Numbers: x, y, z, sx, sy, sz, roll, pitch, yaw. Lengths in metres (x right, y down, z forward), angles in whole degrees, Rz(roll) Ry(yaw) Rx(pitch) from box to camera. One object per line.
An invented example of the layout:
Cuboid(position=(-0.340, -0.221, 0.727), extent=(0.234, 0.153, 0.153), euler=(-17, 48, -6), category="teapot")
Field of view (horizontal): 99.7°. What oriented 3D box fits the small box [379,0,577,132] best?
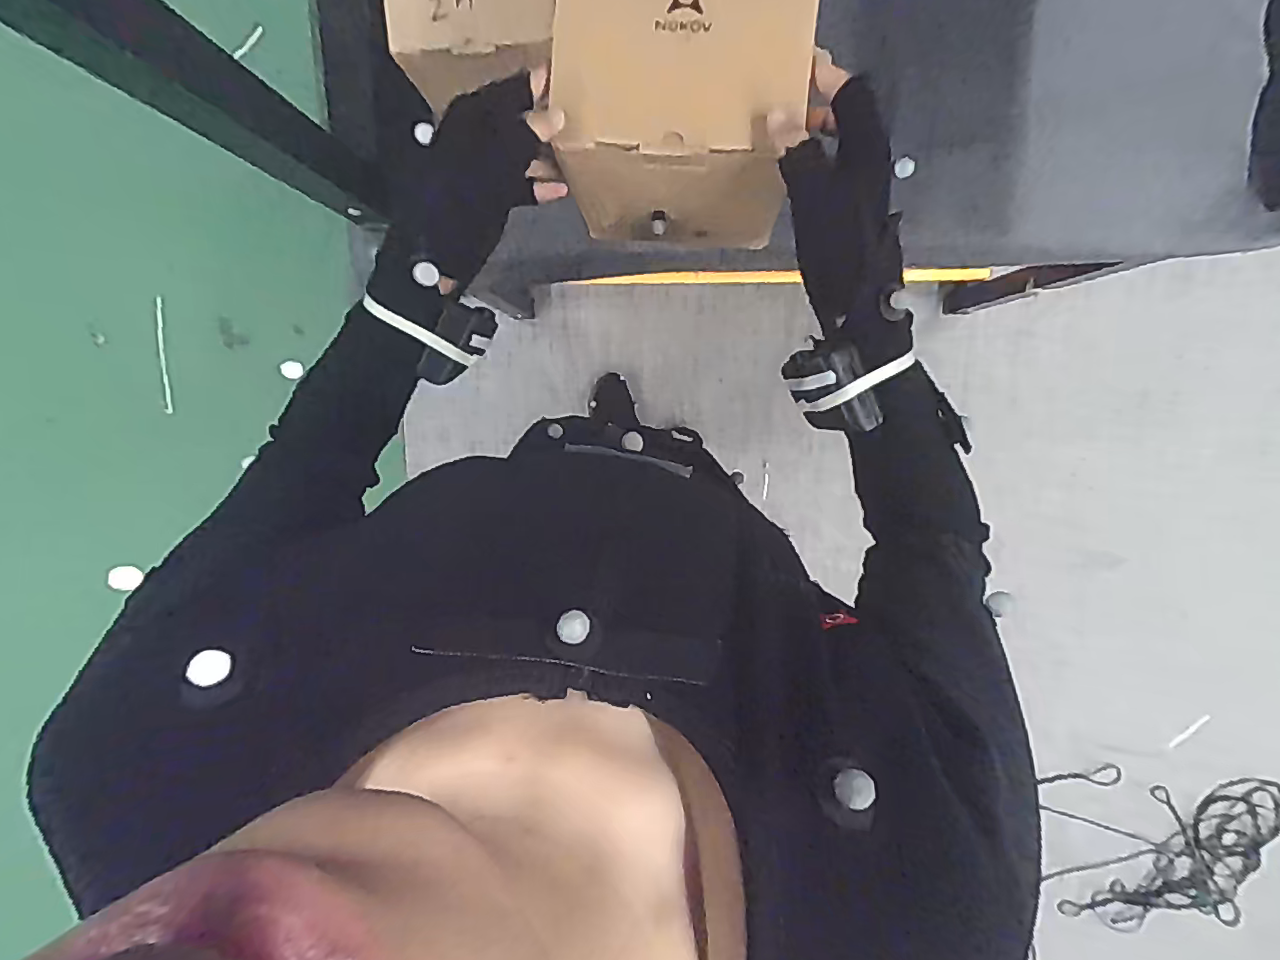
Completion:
Cuboid(position=(-0.164, -0.512, 0.582), extent=(0.168, 0.176, 0.179), euler=(-2, 98, 3), category="small box")
